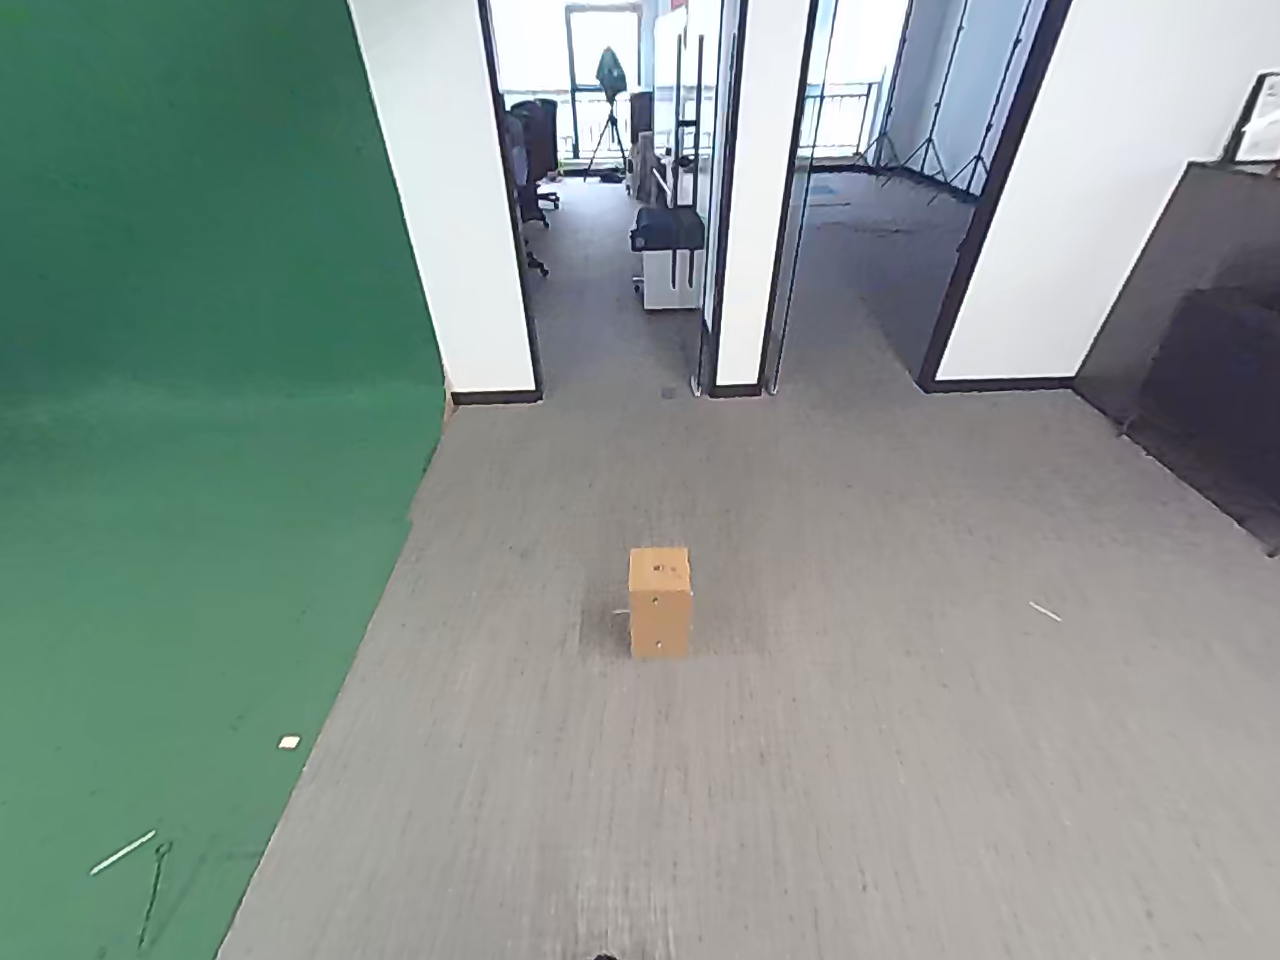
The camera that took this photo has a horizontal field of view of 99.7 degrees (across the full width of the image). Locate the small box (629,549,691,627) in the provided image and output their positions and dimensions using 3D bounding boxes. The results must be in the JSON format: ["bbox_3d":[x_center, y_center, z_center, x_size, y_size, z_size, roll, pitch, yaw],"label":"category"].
[{"bbox_3d":[0.061,0.325,1.616,0.179,0.176,0.168,0,39,2],"label":"small box"}]
